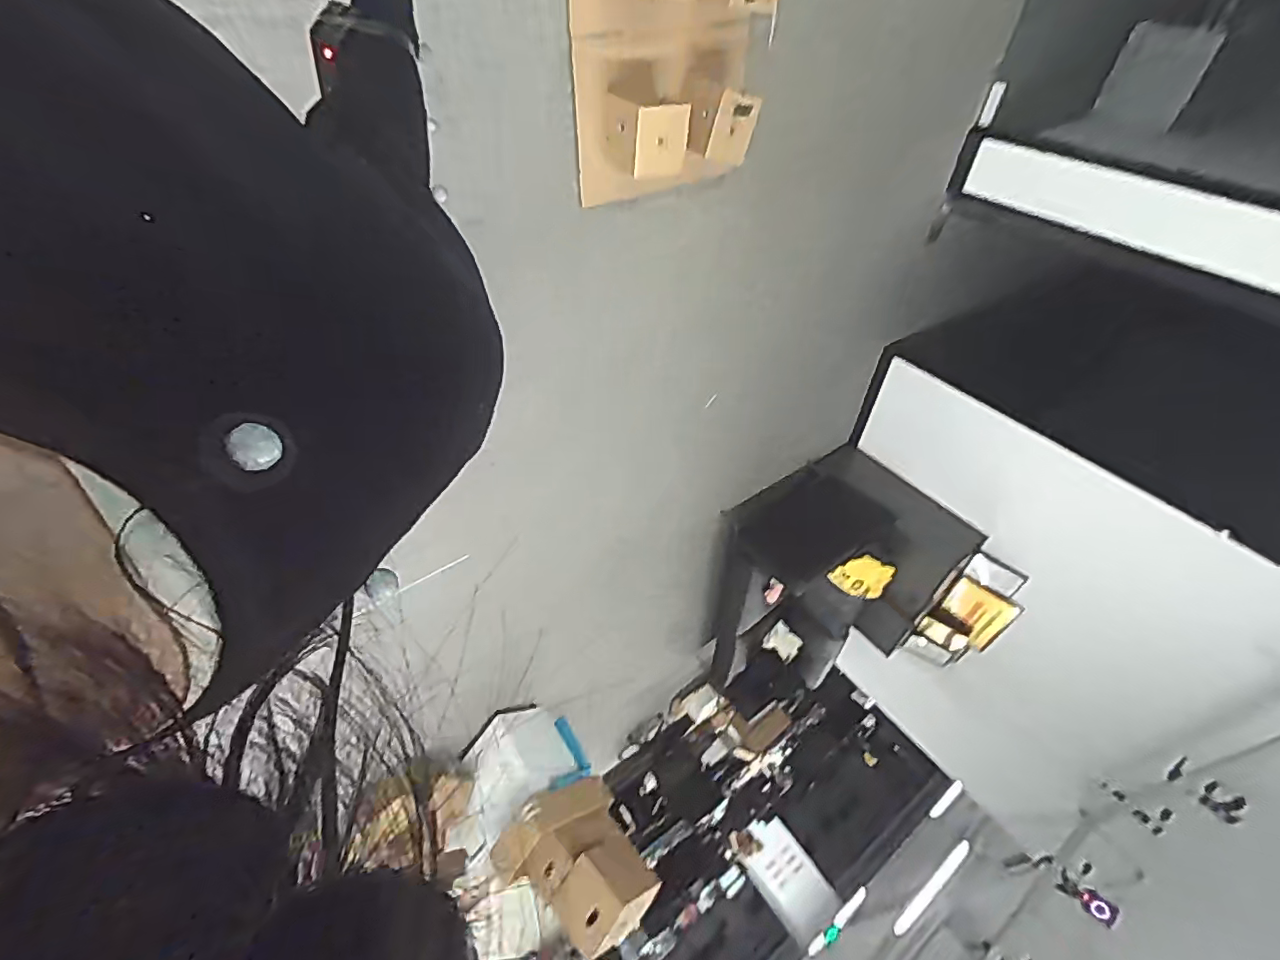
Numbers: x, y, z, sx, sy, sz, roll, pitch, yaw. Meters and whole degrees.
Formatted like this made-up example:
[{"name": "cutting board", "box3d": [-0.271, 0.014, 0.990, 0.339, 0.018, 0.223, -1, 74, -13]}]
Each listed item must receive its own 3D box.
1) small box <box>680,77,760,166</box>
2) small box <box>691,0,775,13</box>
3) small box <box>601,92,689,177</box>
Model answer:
[{"name": "small box", "box3d": [0.216, -1.061, 1.599, 0.168, 0.176, 0.179, -15, 139, -37]}, {"name": "small box", "box3d": [0.242, -1.308, 1.363, 0.168, 0.176, 0.179, -23, 141, -30]}, {"name": "small box", "box3d": [0.007, -0.956, 1.492, 0.179, 0.176, 0.168, -25, 143, -28]}]
